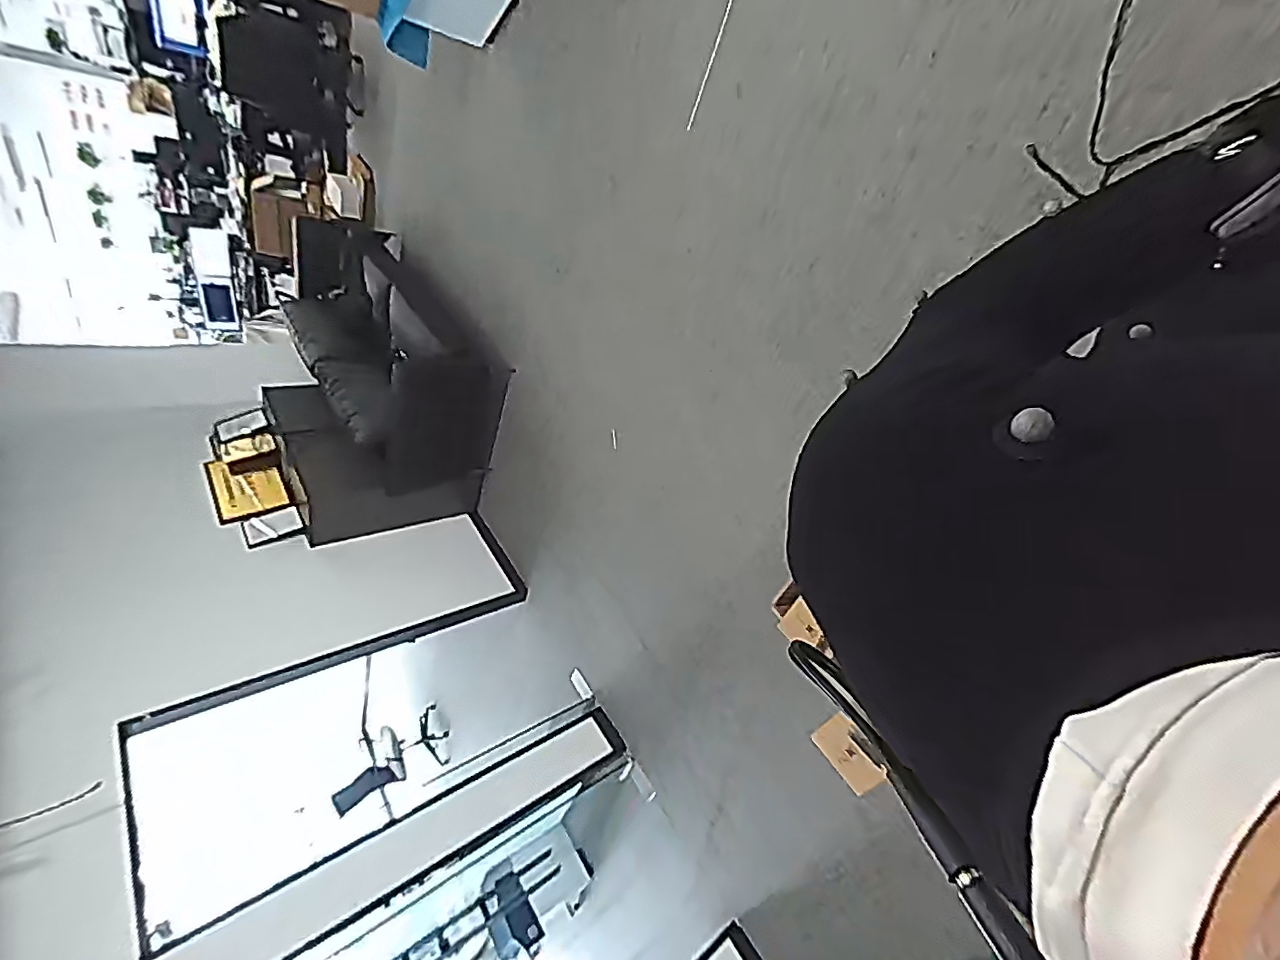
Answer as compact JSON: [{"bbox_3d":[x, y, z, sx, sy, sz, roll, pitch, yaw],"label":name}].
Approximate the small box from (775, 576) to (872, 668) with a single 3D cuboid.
[{"bbox_3d":[0.539,0.408,1.582,0.179,0.176,0.168,47,130,31],"label":"small box"}]
